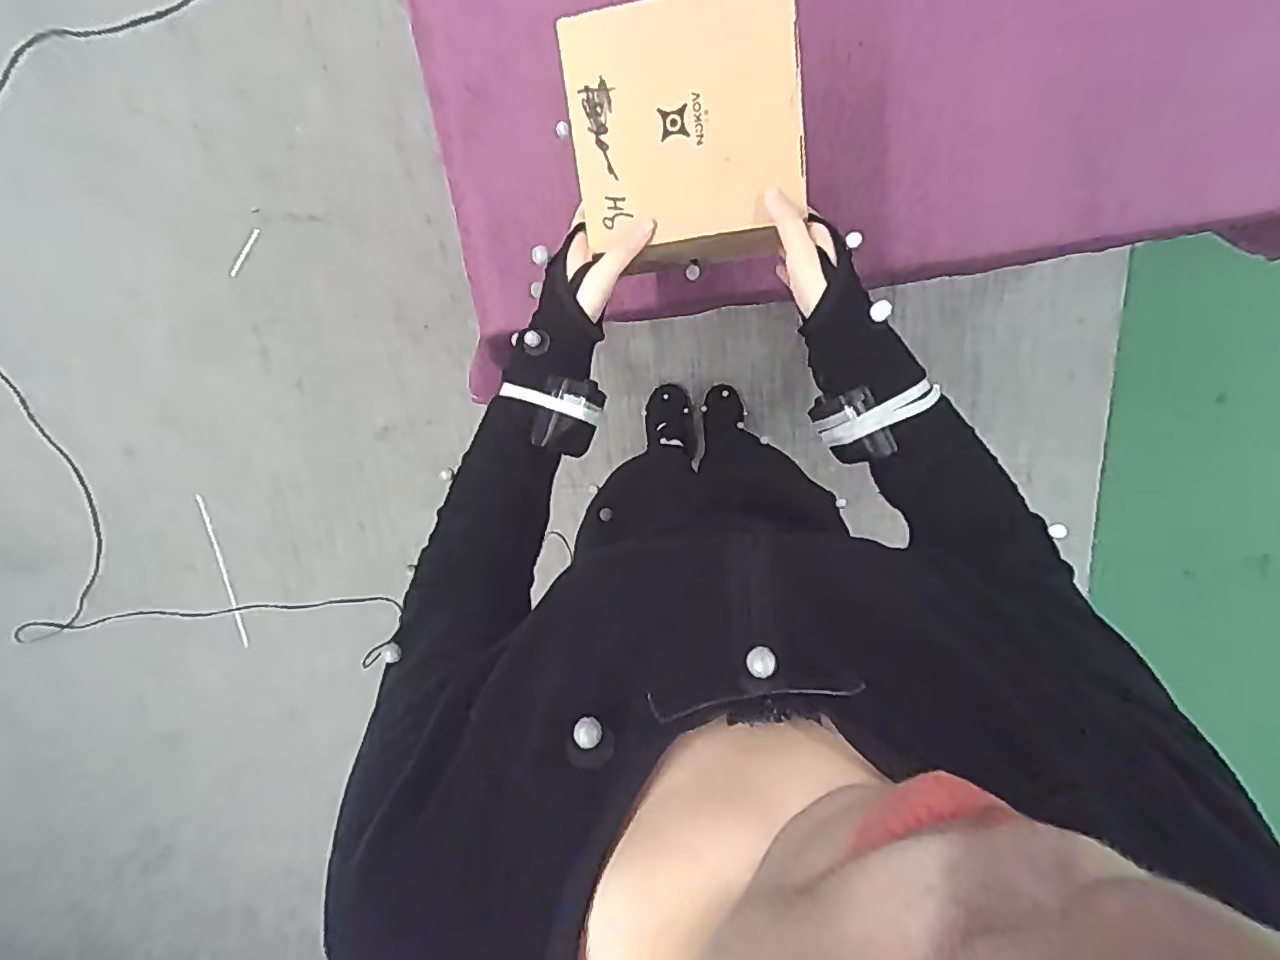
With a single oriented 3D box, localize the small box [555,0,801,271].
[{"bbox_3d":[0.036,-0.294,0.488,0.179,0.176,0.168,-6,104,6],"label":"small box"}]
